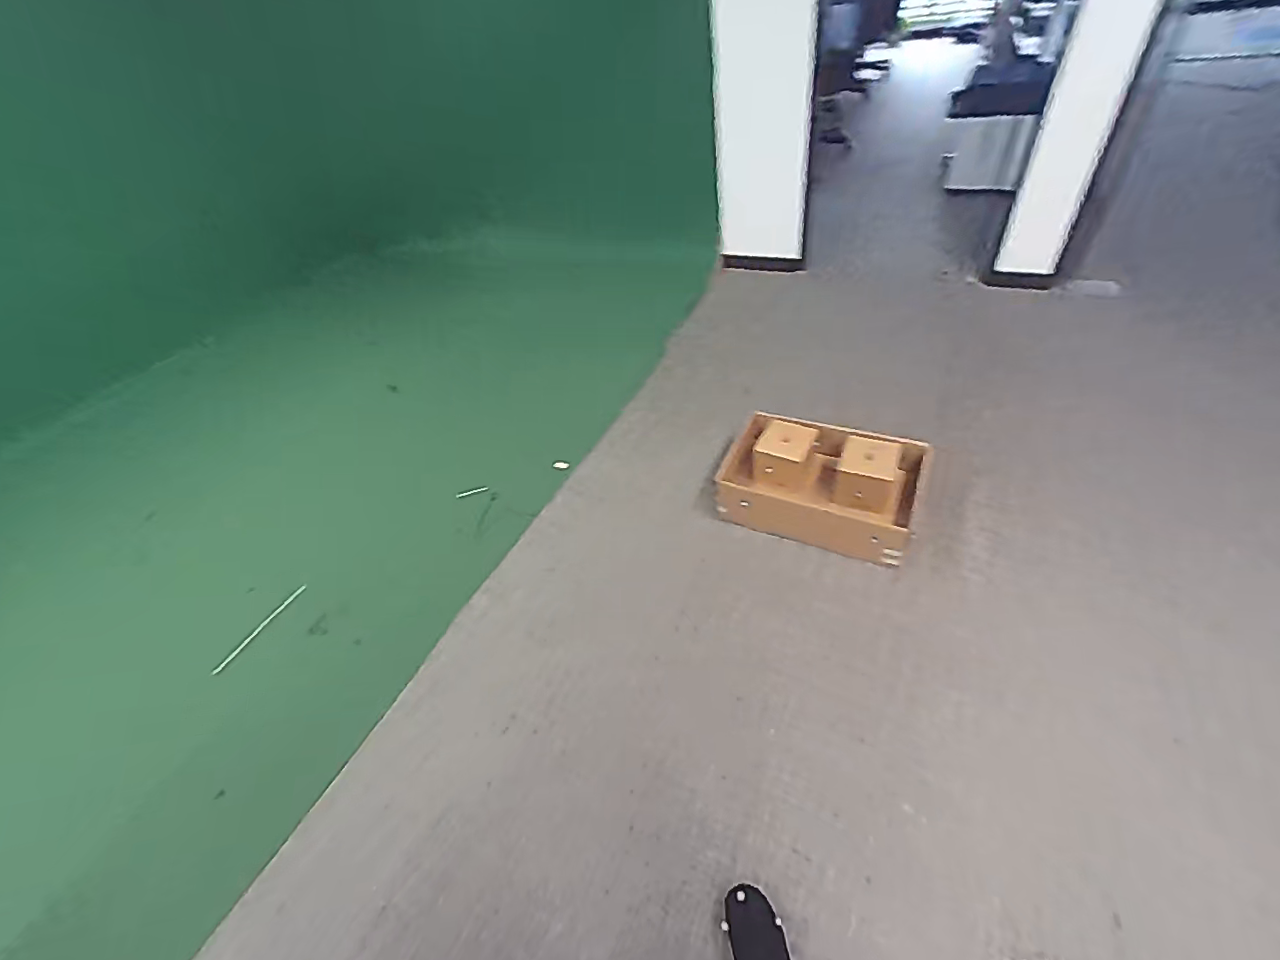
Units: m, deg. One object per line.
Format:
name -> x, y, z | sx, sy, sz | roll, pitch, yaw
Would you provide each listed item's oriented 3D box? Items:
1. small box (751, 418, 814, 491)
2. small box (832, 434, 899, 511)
small box -> 0.504, -0.087, 1.913 | 0.168, 0.176, 0.179 | 19, 52, 26
small box -> 0.746, -0.023, 1.799 | 0.168, 0.176, 0.179 | 15, 51, 24
